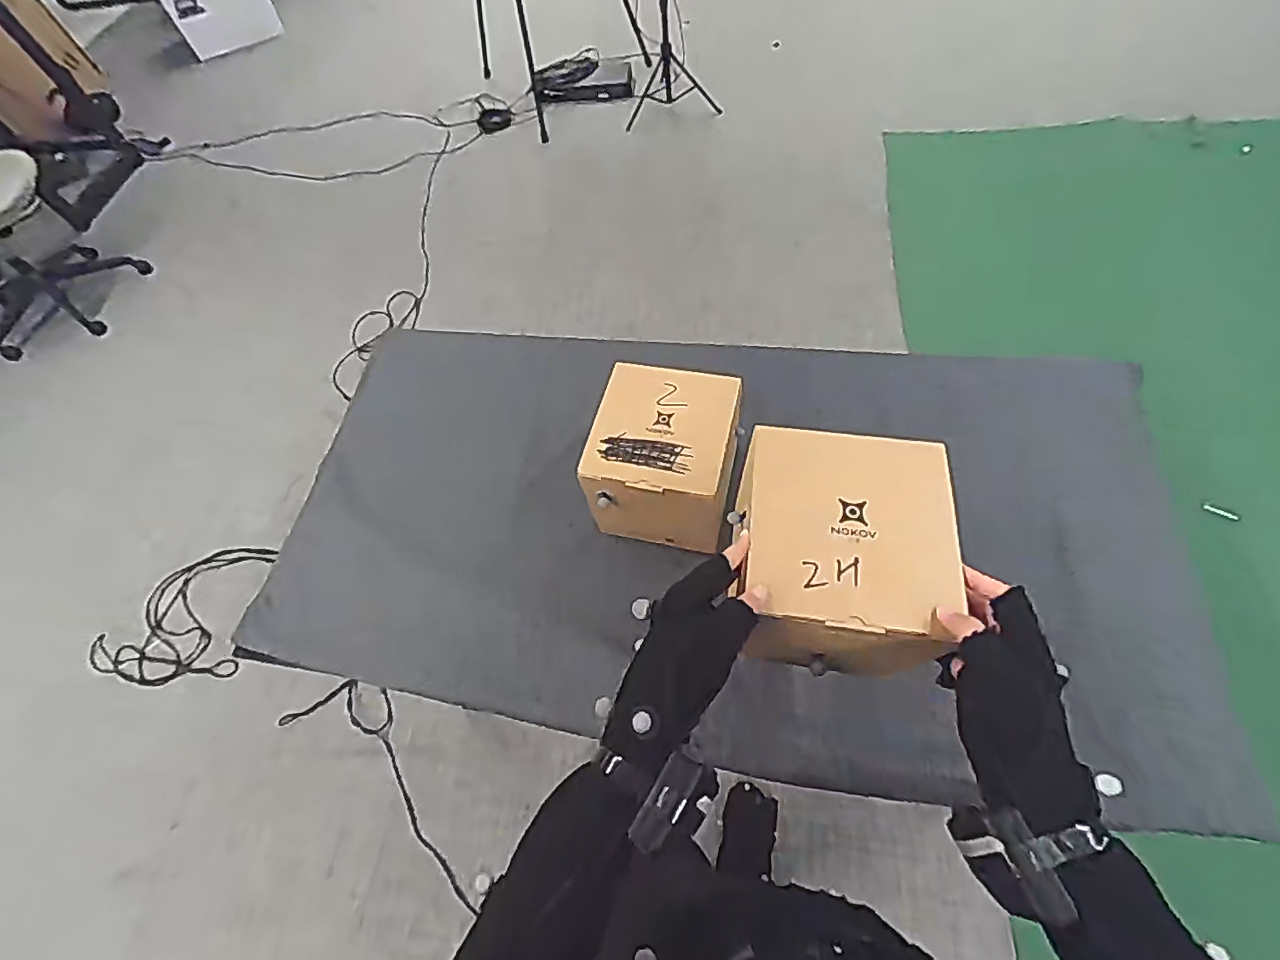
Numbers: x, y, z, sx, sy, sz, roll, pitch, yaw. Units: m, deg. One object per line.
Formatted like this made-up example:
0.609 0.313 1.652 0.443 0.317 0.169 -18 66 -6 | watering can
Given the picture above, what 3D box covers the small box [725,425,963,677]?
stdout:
0.175 0.073 0.515 0.168 0.176 0.179 7 61 7 | small box
